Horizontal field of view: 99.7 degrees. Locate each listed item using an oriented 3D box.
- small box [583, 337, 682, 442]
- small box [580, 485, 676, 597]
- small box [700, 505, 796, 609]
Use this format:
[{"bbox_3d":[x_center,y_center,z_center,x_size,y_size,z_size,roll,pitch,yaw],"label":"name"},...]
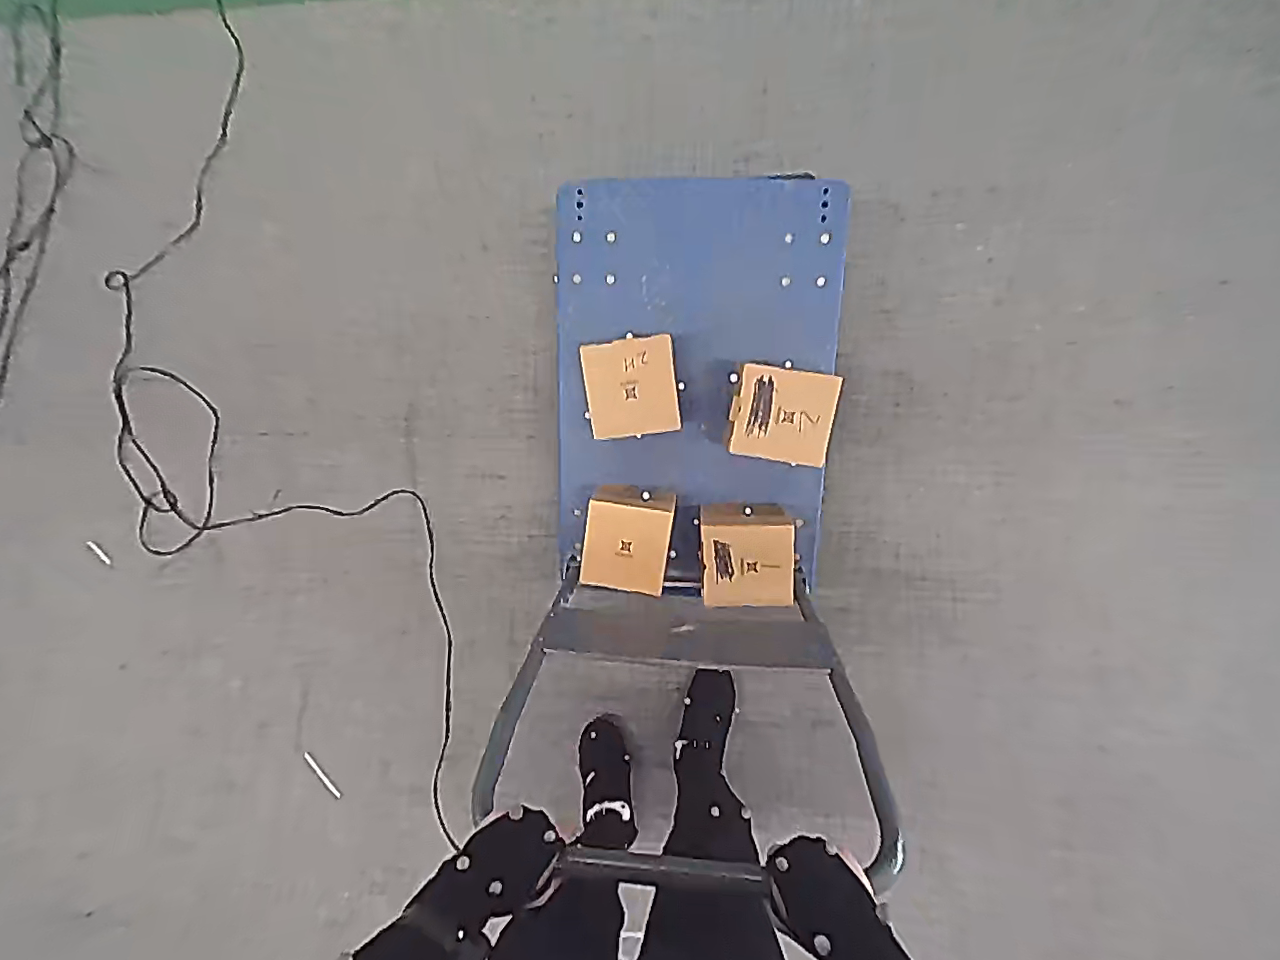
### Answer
[{"bbox_3d":[-0.007,-0.180,1.060,0.168,0.176,0.179,-6,101,5],"label":"small box"},{"bbox_3d":[-0.021,0.117,1.125,0.168,0.176,0.179,9,103,2],"label":"small box"},{"bbox_3d":[0.213,0.152,1.108,0.179,0.176,0.168,-1,102,4],"label":"small box"}]
